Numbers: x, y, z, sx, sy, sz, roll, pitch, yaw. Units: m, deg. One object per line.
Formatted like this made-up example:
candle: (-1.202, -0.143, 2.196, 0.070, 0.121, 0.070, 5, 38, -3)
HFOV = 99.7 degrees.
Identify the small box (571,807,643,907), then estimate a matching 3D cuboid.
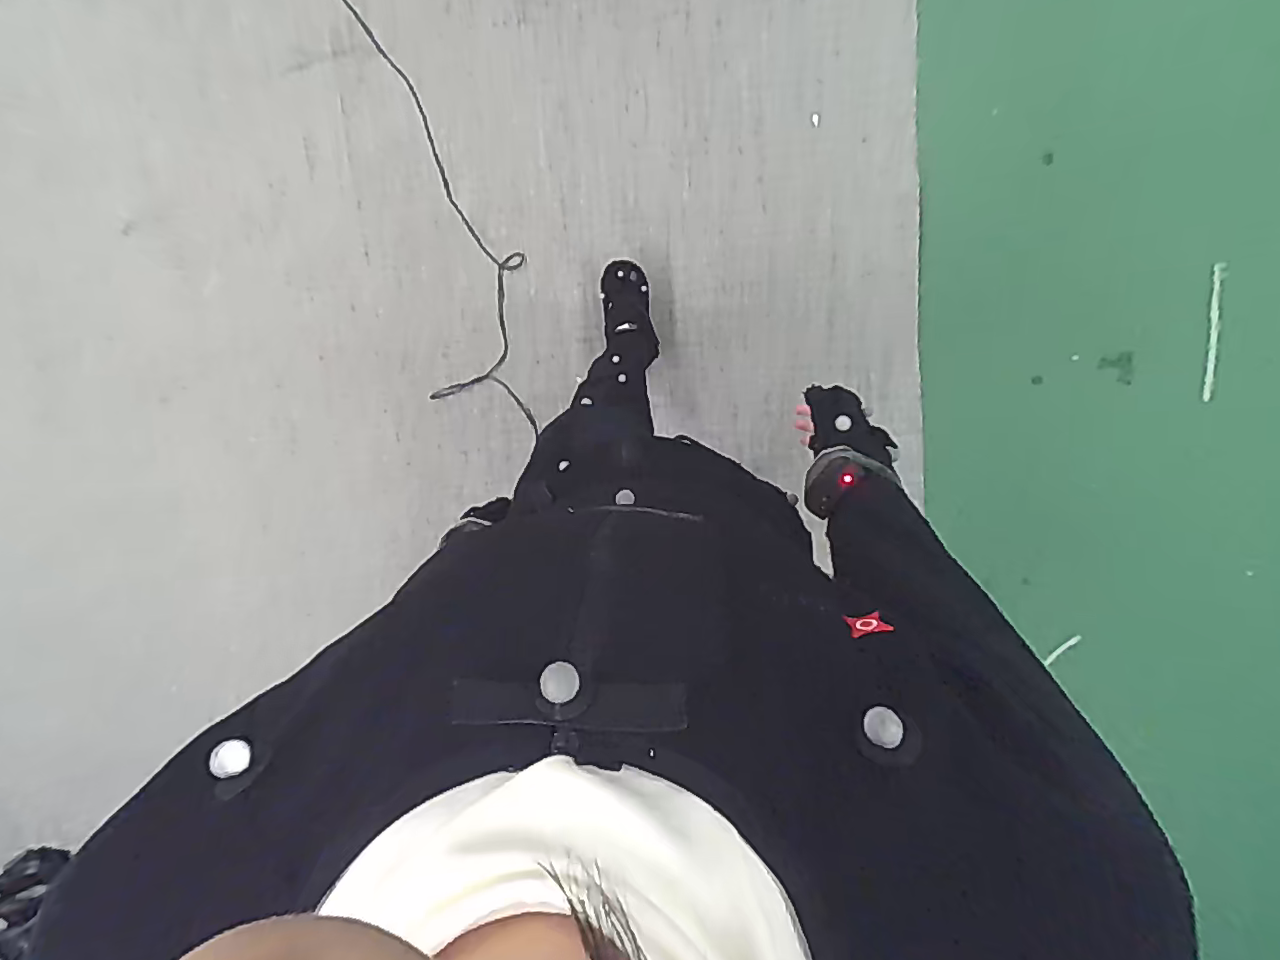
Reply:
small box: (-0.088, 1.069, 1.542, 0.179, 0.176, 0.168, -6, 101, 4)
